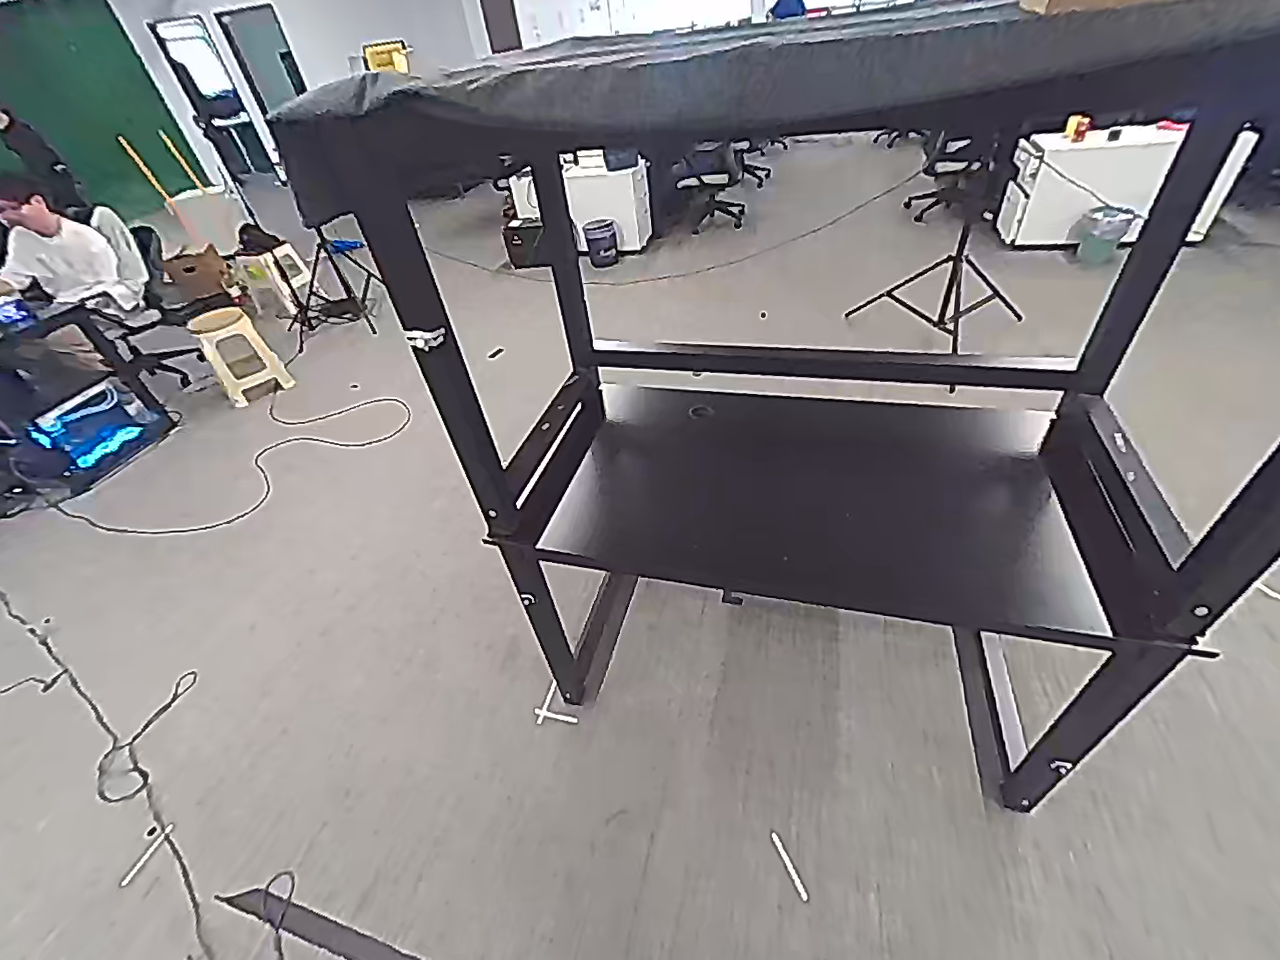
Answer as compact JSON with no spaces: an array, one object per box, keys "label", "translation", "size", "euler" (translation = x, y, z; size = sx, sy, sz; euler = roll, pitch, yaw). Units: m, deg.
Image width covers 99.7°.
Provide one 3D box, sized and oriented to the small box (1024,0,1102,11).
[{"label":"small box","translation":[0.439,-0.500,0.434],"size":[0.168,0.176,0.179],"euler":[9,42,20]}]
